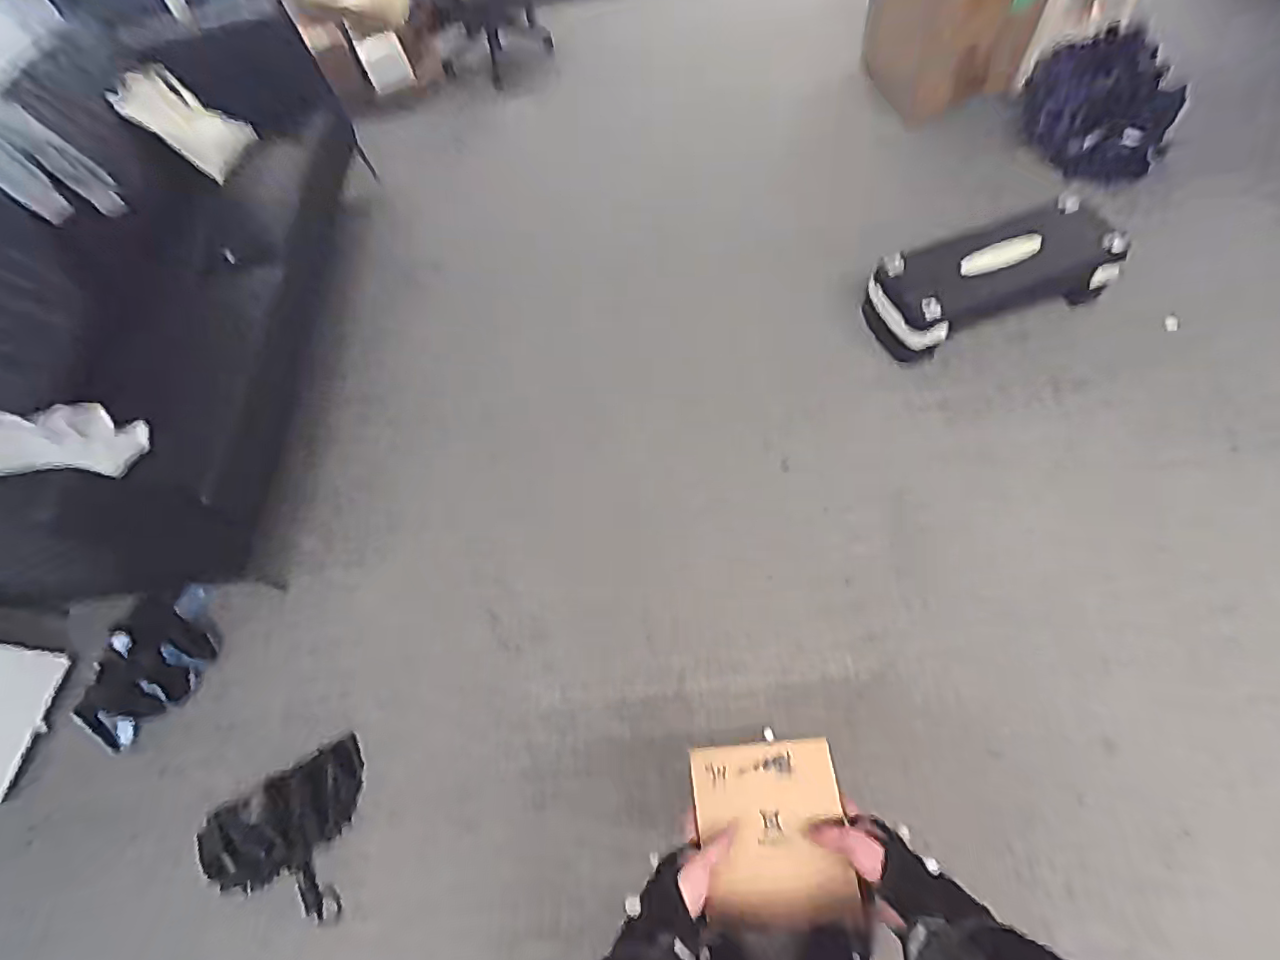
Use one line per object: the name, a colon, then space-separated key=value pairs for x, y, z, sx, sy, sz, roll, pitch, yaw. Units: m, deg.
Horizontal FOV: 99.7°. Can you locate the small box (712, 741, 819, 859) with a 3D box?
small box: x=0.236 y=0.608 z=1.044 sx=0.168 sy=0.176 sz=0.179 roll=-9 pitch=62 yaw=5
